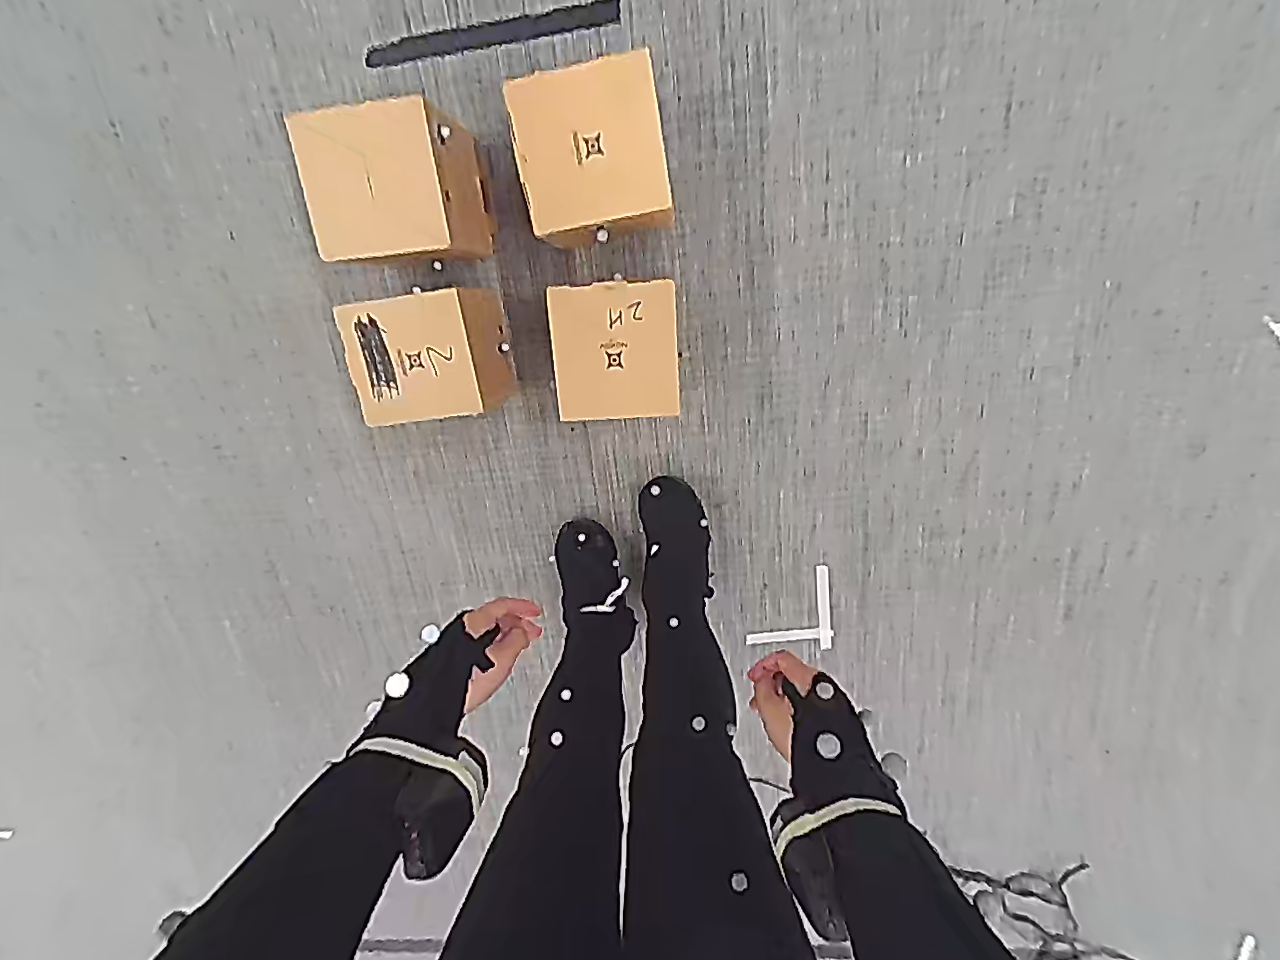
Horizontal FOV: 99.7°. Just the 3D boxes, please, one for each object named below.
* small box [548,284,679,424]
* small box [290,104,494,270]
[{"bbox_3d":[-0.028,-0.187,0.782,0.168,0.176,0.179,-2,108,4],"label":"small box"},{"bbox_3d":[-0.322,-0.384,0.734,0.179,0.176,0.168,-4,108,5],"label":"small box"}]
